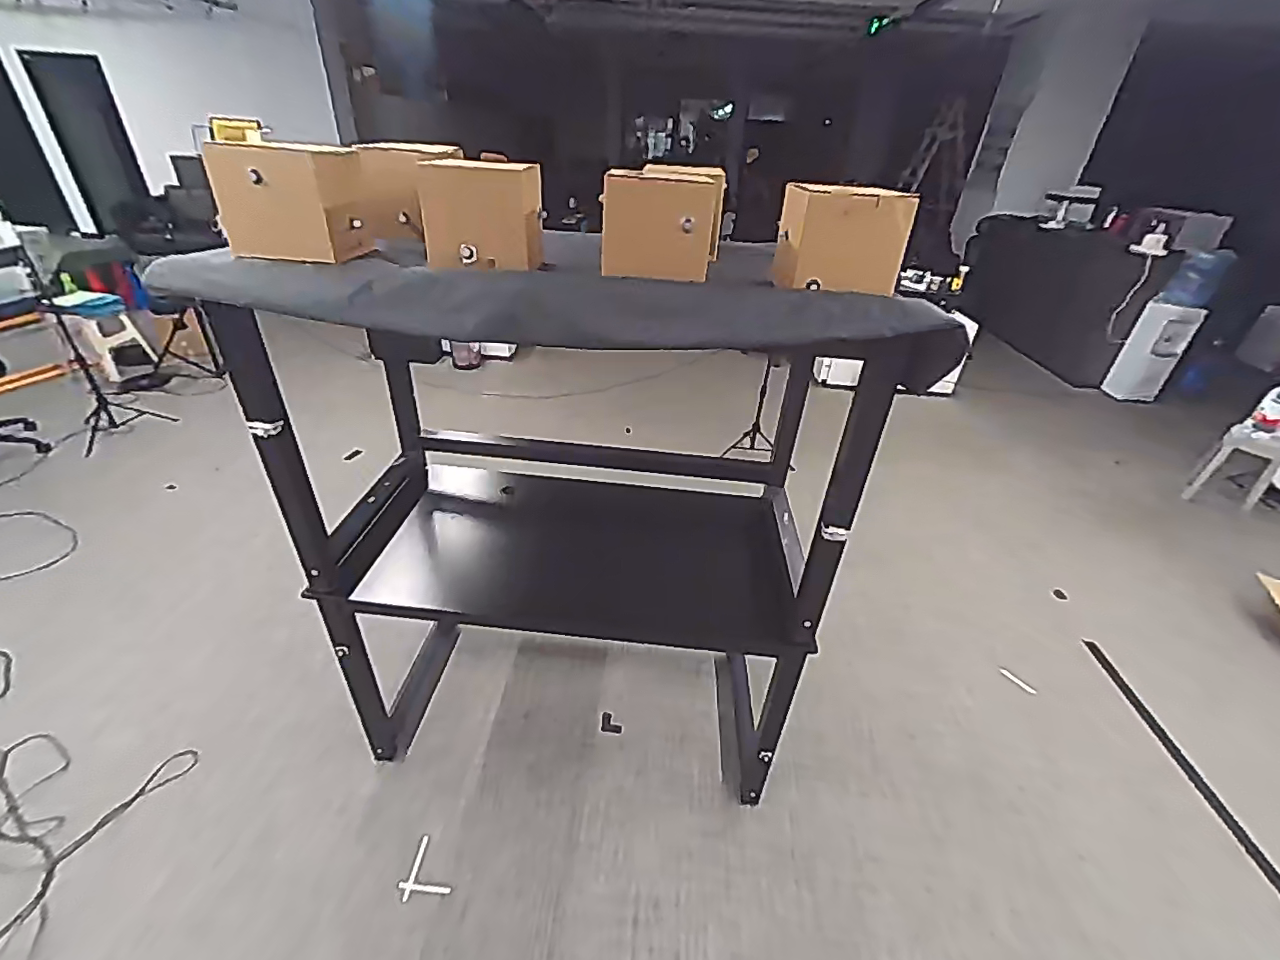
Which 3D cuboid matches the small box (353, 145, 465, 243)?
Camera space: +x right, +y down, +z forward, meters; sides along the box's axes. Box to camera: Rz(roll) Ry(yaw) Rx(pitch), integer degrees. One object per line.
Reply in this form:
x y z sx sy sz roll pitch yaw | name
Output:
-0.487 -0.623 1.182 0.179 0.176 0.168 5 33 0 | small box

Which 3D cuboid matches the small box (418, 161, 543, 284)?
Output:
-0.263 -0.447 0.934 0.168 0.176 0.179 2 32 -1 | small box

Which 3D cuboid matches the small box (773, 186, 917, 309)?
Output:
0.332 -0.394 0.913 0.168 0.176 0.179 3 32 0 | small box

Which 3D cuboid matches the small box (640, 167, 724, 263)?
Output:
0.089 -0.577 1.175 0.168 0.176 0.179 4 33 1 | small box

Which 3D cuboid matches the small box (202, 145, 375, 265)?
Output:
-0.593 -0.478 0.941 0.179 0.176 0.168 4 32 -2 | small box
